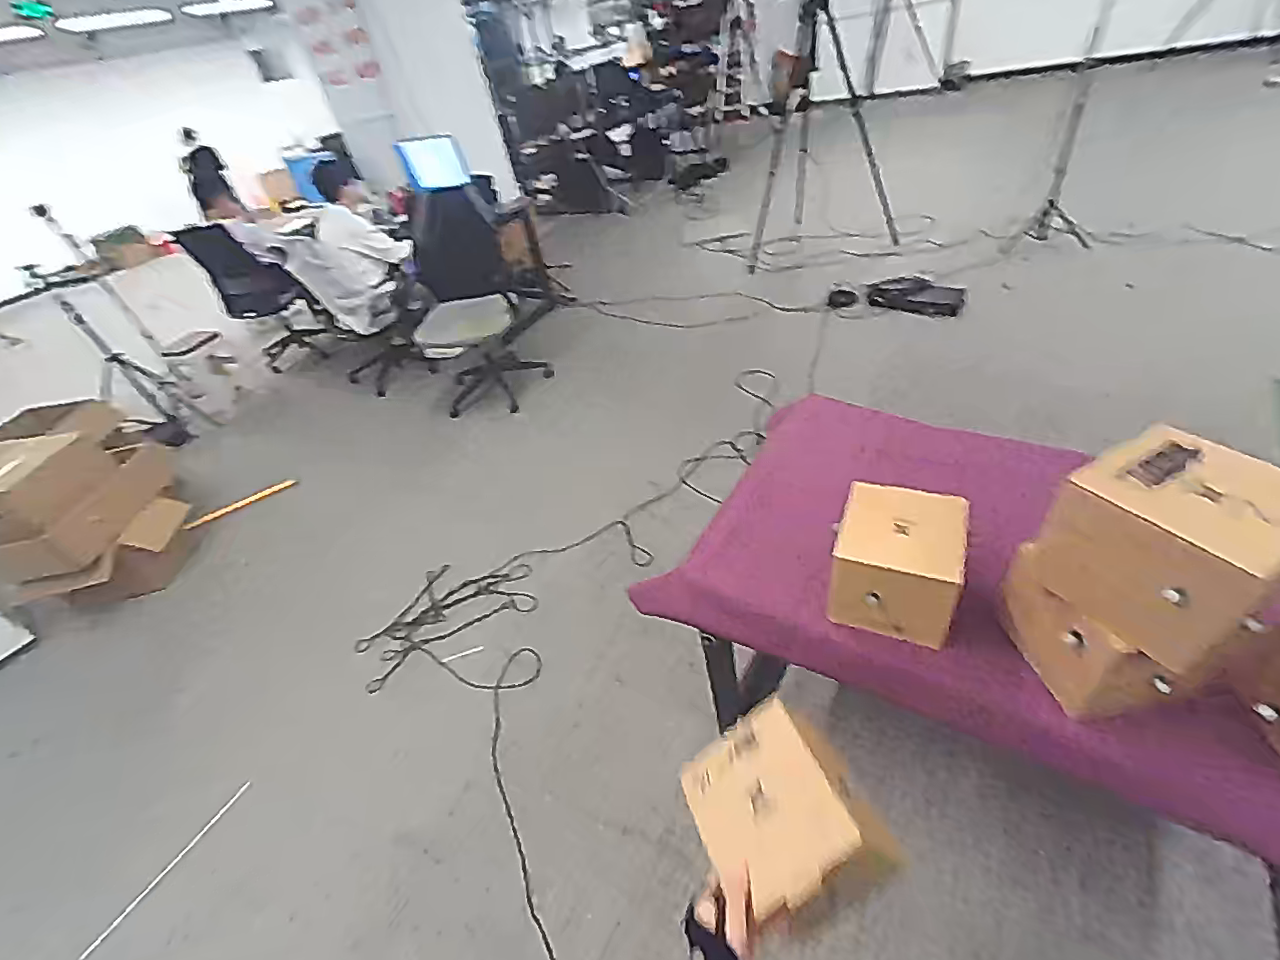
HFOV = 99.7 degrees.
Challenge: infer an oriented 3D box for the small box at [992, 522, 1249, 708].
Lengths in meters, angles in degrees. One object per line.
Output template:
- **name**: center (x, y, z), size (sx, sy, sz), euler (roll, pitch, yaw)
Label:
- **small box**: center (0.623, 0.188, 0.733), size (0.168, 0.176, 0.179), euler (-11, 39, 1)

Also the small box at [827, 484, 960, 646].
- **small box**: center (0.400, 0.134, 0.863), size (0.168, 0.176, 0.179), euler (10, 44, 26)
